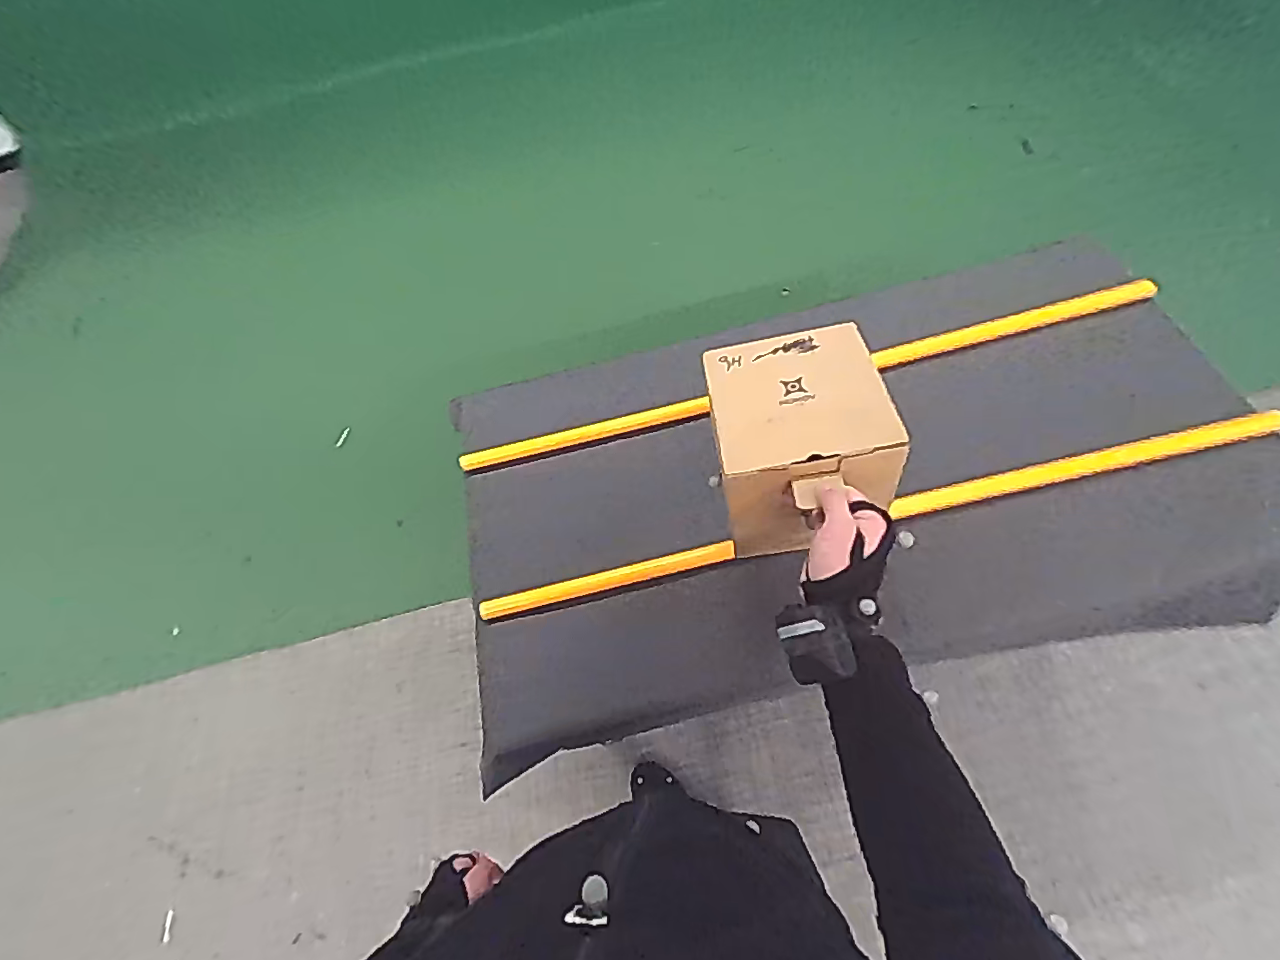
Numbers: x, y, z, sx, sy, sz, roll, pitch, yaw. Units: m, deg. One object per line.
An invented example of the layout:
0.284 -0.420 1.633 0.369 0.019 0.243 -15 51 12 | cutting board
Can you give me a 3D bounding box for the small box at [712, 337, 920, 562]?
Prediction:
0.184 -0.023 0.602 0.168 0.176 0.179 -12 53 7 | small box
